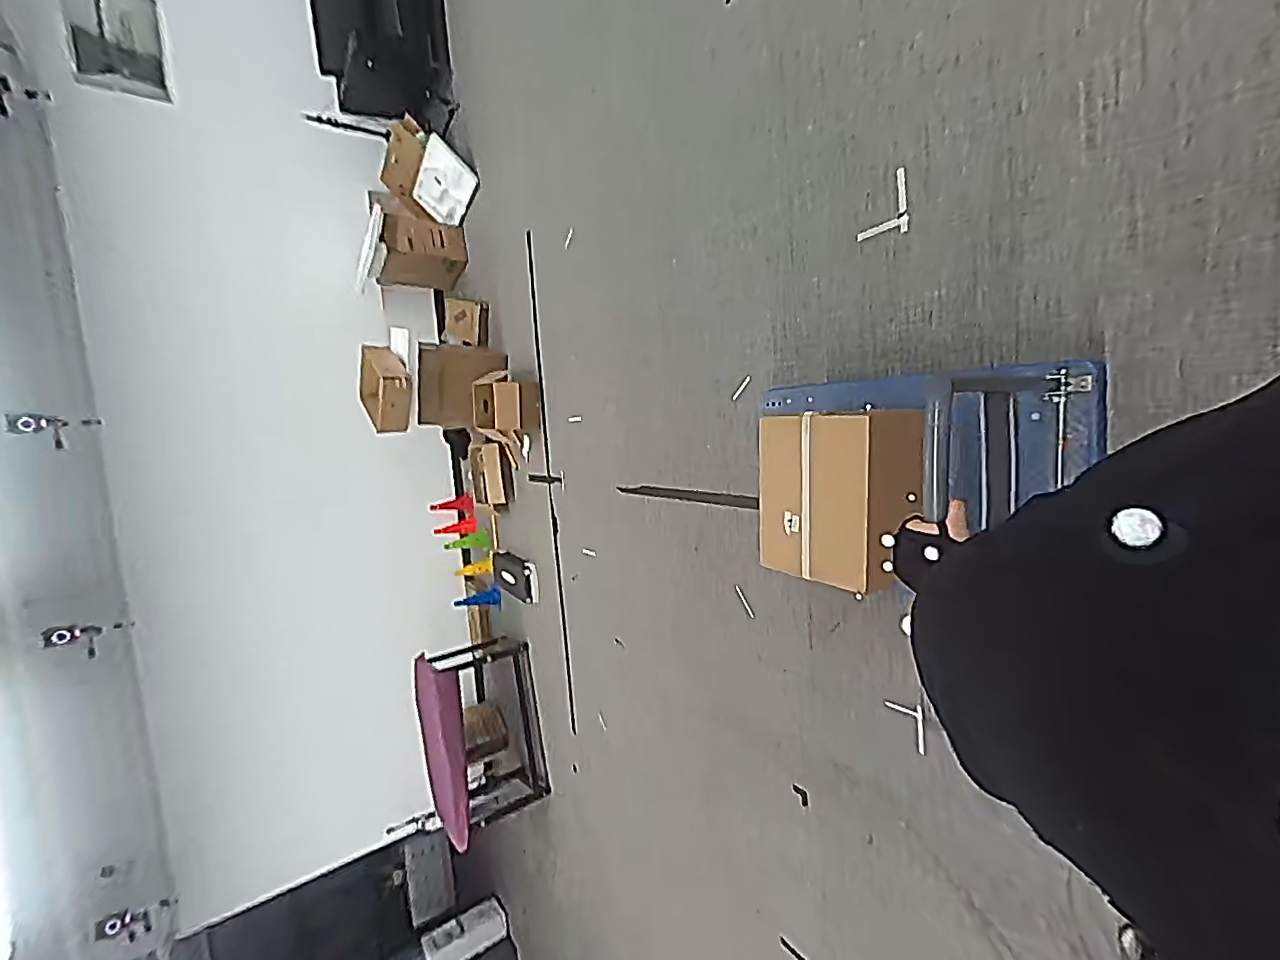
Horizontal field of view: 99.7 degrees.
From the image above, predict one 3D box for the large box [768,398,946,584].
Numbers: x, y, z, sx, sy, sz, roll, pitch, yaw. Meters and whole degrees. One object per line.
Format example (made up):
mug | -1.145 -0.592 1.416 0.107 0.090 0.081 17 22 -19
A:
large box | 0.551 0.004 1.379 0.320 0.320 0.408 10 105 55
